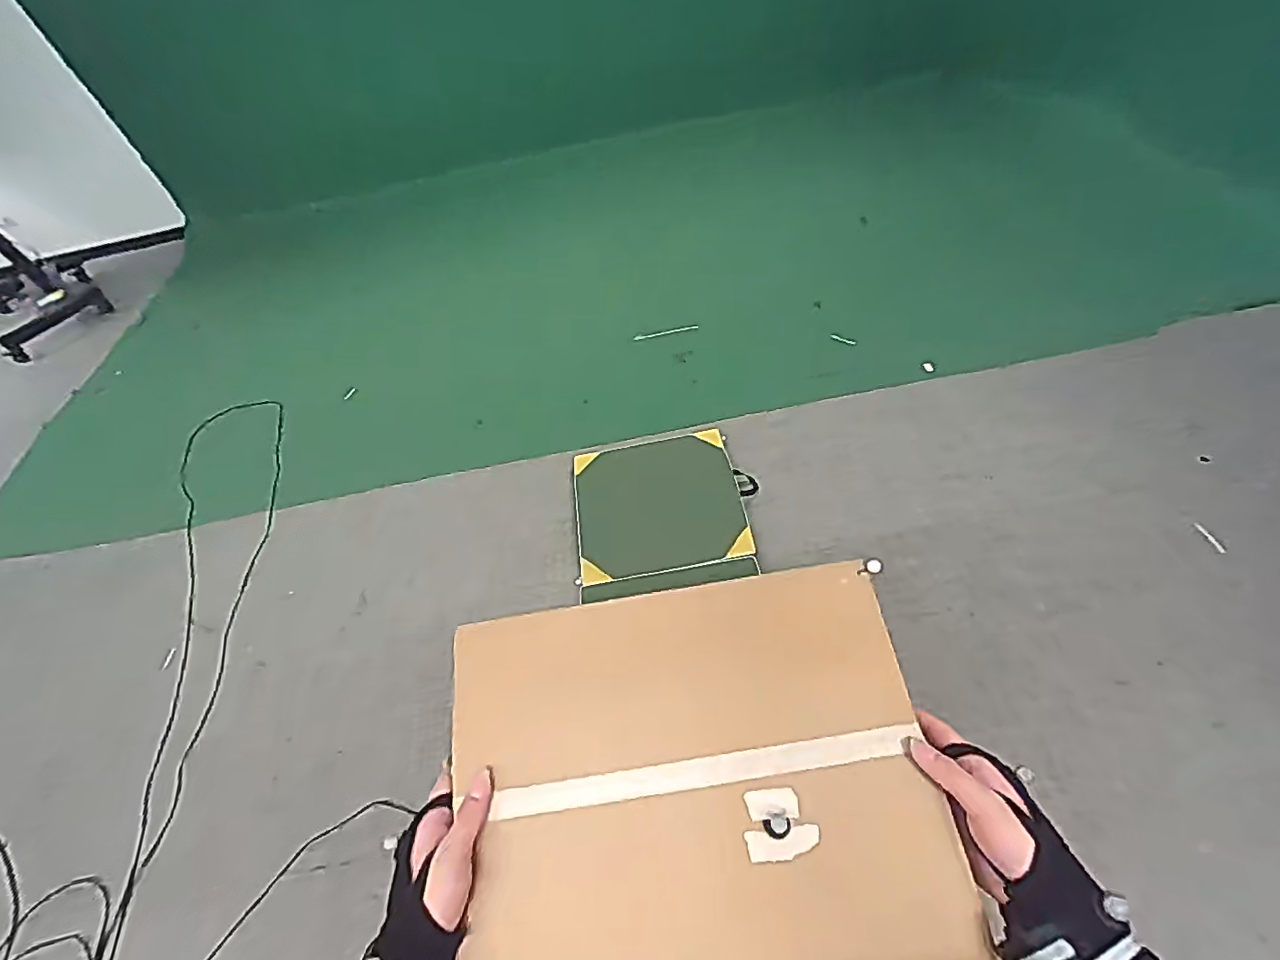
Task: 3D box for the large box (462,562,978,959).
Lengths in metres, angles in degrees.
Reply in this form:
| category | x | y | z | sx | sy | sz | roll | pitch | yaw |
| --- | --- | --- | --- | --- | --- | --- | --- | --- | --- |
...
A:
| category | x | y | z | sx | sy | sz | roll | pitch | yaw |
| --- | --- | --- | --- | --- | --- | --- | --- | --- | --- |
| large box | 0.052 | 0.317 | 0.608 | 0.408 | 0.320 | 0.320 | -10 | 65 | 1 |
